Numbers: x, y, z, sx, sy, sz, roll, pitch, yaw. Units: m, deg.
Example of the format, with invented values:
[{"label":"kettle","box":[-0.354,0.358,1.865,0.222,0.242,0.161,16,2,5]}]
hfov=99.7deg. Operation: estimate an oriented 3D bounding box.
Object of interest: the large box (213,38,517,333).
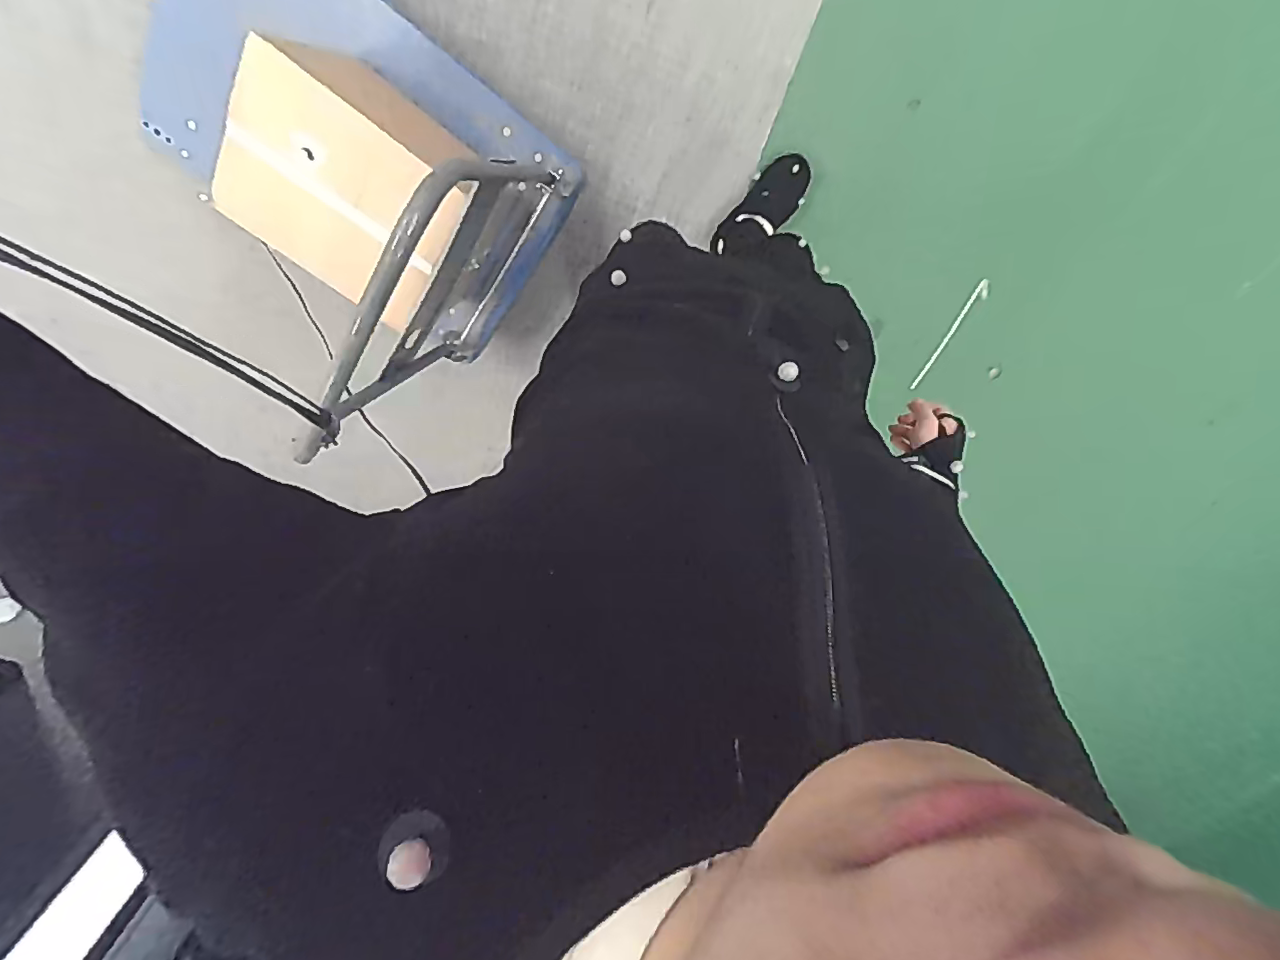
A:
[{"label":"large box","box":[-0.528,-0.575,1.101,0.408,0.320,0.320,35,118,-14]}]
